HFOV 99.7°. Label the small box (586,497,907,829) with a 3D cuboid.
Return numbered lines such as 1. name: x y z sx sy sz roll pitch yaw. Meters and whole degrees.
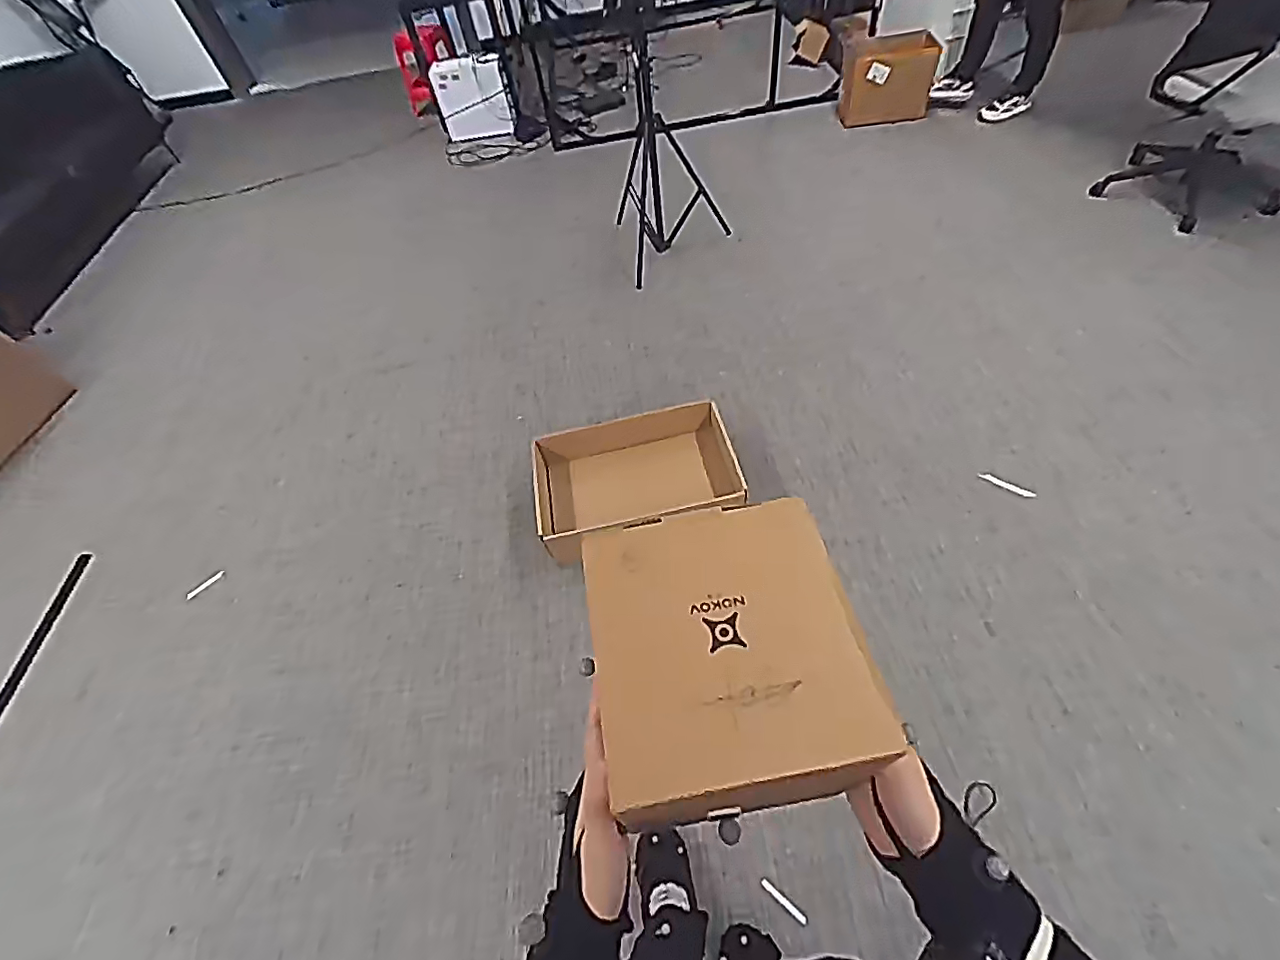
1. small box: 0.058 0.141 0.406 0.168 0.176 0.179 -11 54 -3
